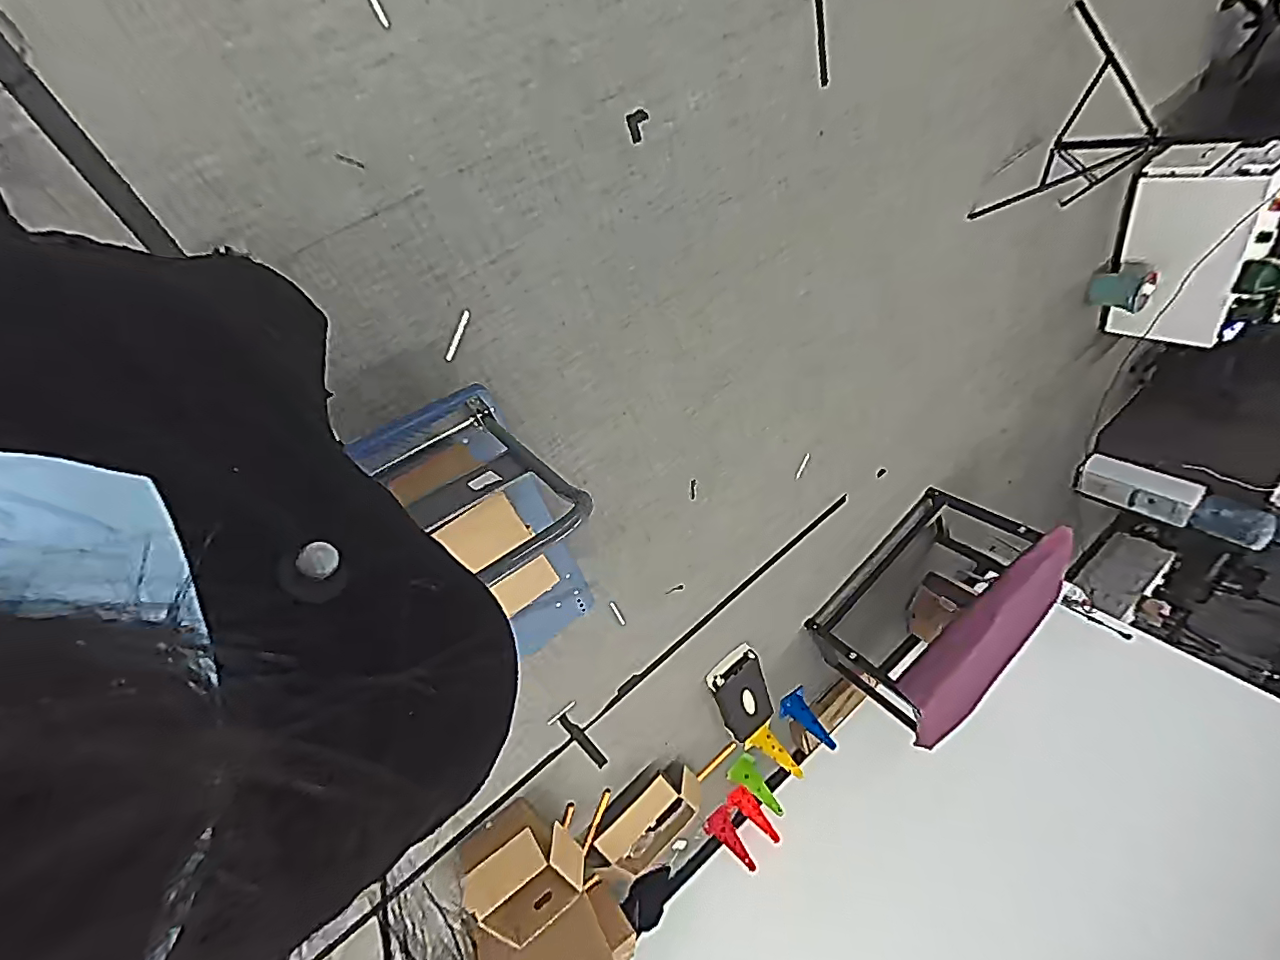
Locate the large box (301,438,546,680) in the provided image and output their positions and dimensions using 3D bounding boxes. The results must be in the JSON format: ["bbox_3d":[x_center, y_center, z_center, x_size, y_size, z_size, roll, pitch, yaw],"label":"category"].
[{"bbox_3d":[-0.504,0.169,1.278,0.408,0.320,0.320,-35,129,-16],"label":"large box"}]
